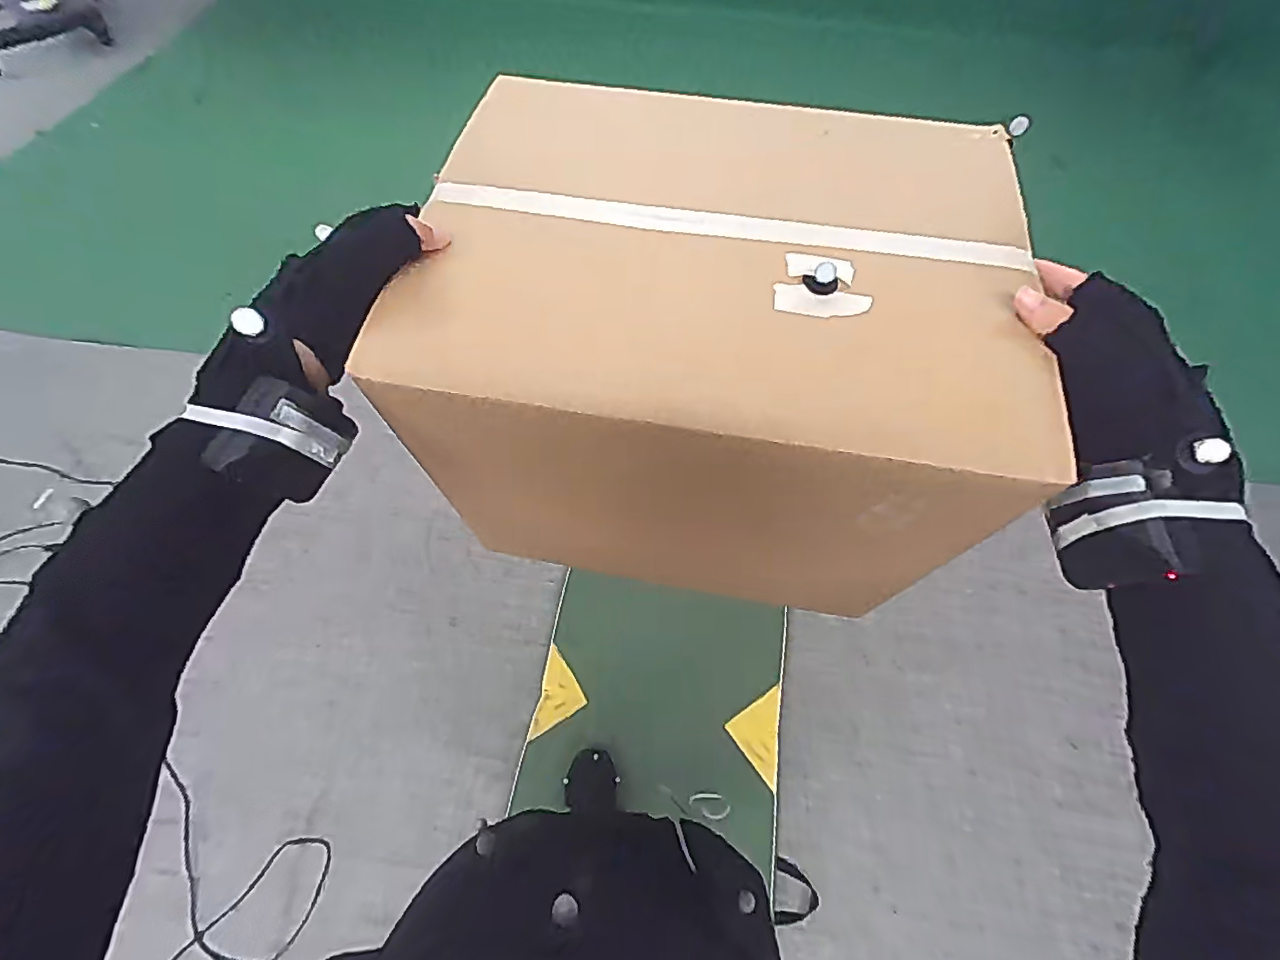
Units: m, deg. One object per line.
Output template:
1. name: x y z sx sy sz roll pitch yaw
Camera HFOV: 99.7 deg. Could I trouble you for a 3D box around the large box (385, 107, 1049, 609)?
1. large box: 0.058 -0.092 0.517 0.408 0.320 0.320 9 63 4
